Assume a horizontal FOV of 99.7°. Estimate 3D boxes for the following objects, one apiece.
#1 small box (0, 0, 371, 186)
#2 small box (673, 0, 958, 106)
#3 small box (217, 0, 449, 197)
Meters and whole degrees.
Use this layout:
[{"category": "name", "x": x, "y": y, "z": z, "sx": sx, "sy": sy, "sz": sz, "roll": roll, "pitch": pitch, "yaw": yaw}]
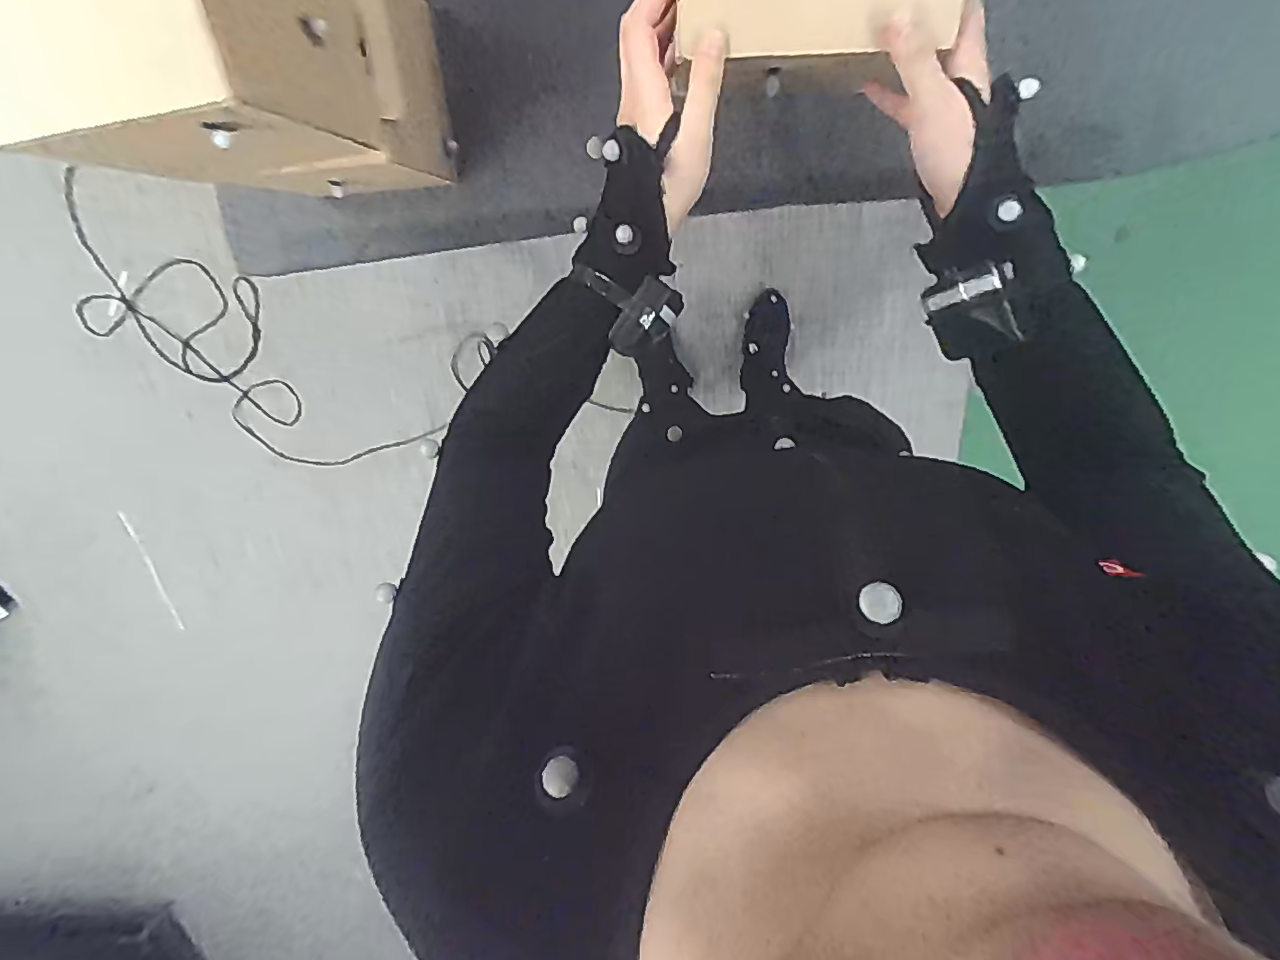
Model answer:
[{"category": "small box", "x": -0.329, "y": -0.315, "z": 0.374, "sx": 0.179, "sy": 0.176, "sz": 0.168, "roll": -7, "pitch": 112, "yaw": 6}, {"category": "small box", "x": 0.115, "y": -0.378, "z": 0.385, "sx": 0.179, "sy": 0.176, "sz": 0.168, "roll": 1, "pitch": 118, "yaw": 4}, {"category": "small box", "x": -0.303, "y": -0.377, "z": 0.523, "sx": 0.179, "sy": 0.176, "sz": 0.168, "roll": -2, "pitch": 113, "yaw": 5}]
